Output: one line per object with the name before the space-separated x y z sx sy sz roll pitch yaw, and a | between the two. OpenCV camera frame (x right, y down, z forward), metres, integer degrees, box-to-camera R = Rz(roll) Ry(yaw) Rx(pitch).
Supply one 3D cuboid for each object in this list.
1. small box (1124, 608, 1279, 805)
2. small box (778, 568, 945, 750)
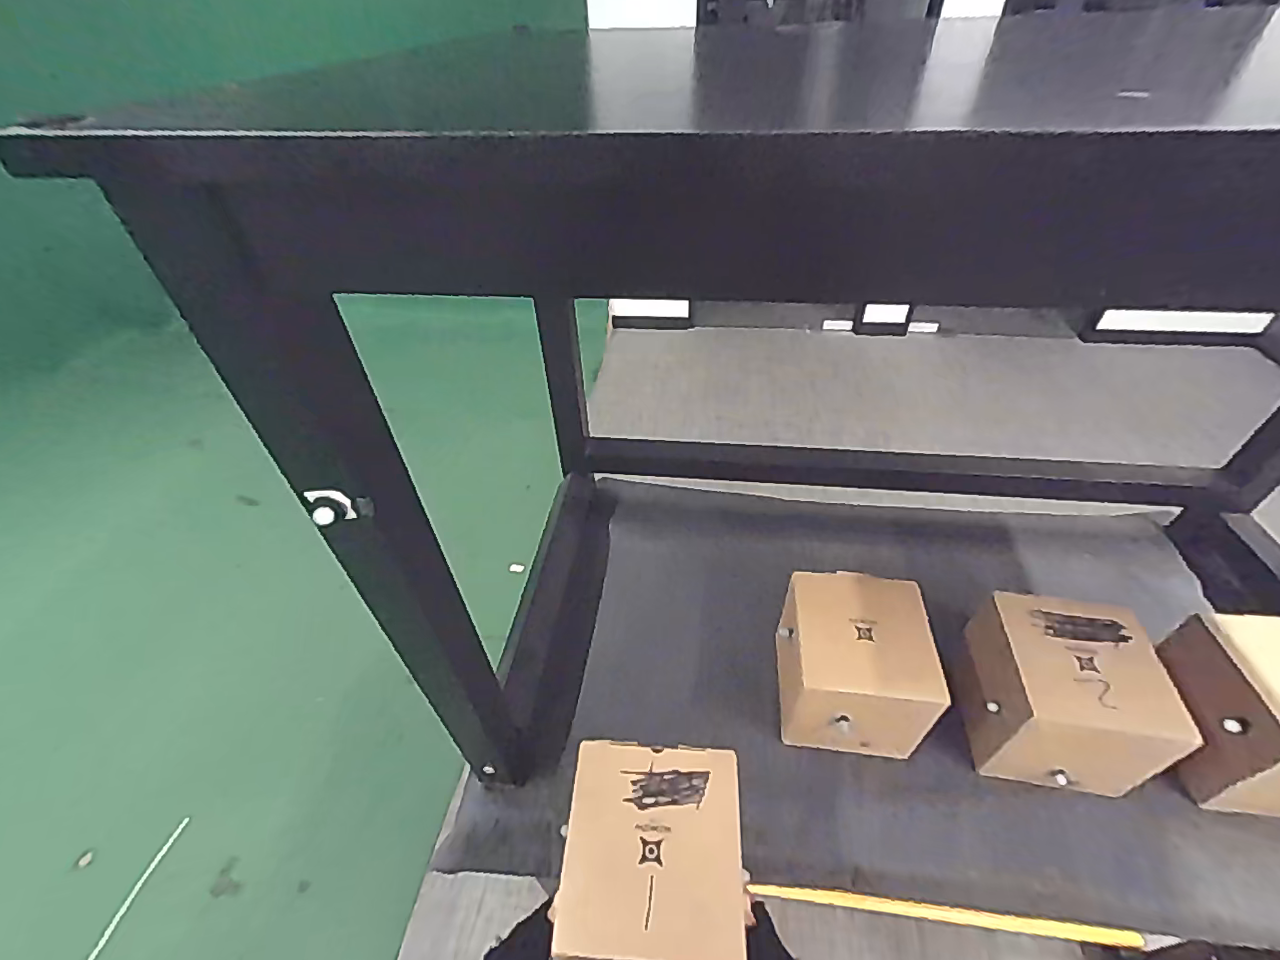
small box | 0.772 0.285 0.670 0.168 0.176 0.179 3 41 6
small box | 0.286 0.247 0.743 0.168 0.176 0.179 4 42 7
